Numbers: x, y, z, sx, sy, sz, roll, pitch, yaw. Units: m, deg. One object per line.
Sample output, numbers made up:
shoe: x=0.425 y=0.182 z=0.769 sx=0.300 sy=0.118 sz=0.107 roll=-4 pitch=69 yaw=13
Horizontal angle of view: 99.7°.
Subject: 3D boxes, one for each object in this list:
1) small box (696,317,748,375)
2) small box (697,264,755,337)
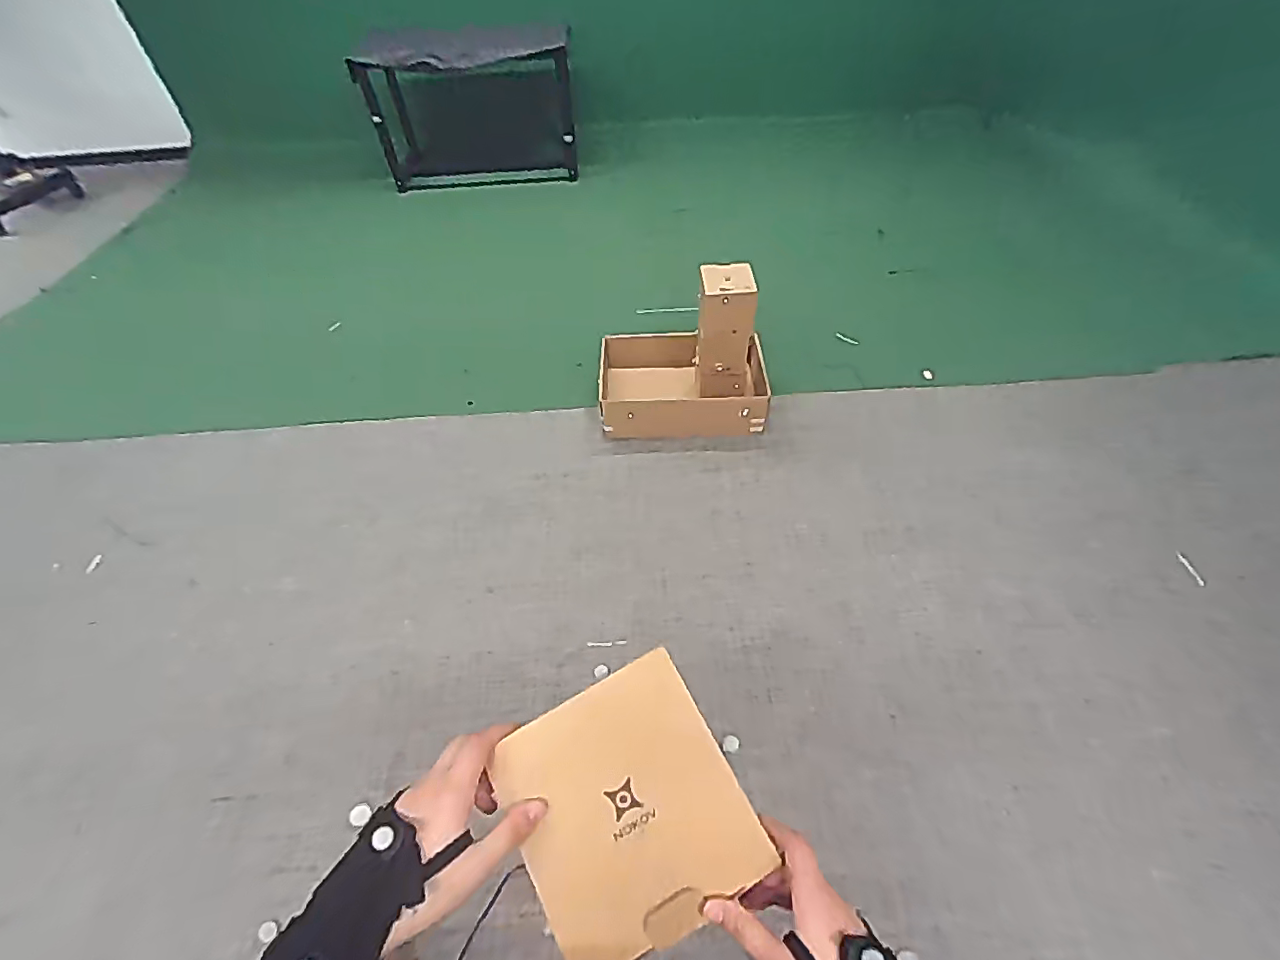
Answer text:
small box: x=0.289 y=-0.497 z=1.936 sx=0.168 sy=0.176 sz=0.179 roll=-1 pitch=52 yaw=3
small box: x=0.282 y=-0.600 z=1.808 sx=0.168 sy=0.176 sz=0.179 roll=-4 pitch=50 yaw=1
